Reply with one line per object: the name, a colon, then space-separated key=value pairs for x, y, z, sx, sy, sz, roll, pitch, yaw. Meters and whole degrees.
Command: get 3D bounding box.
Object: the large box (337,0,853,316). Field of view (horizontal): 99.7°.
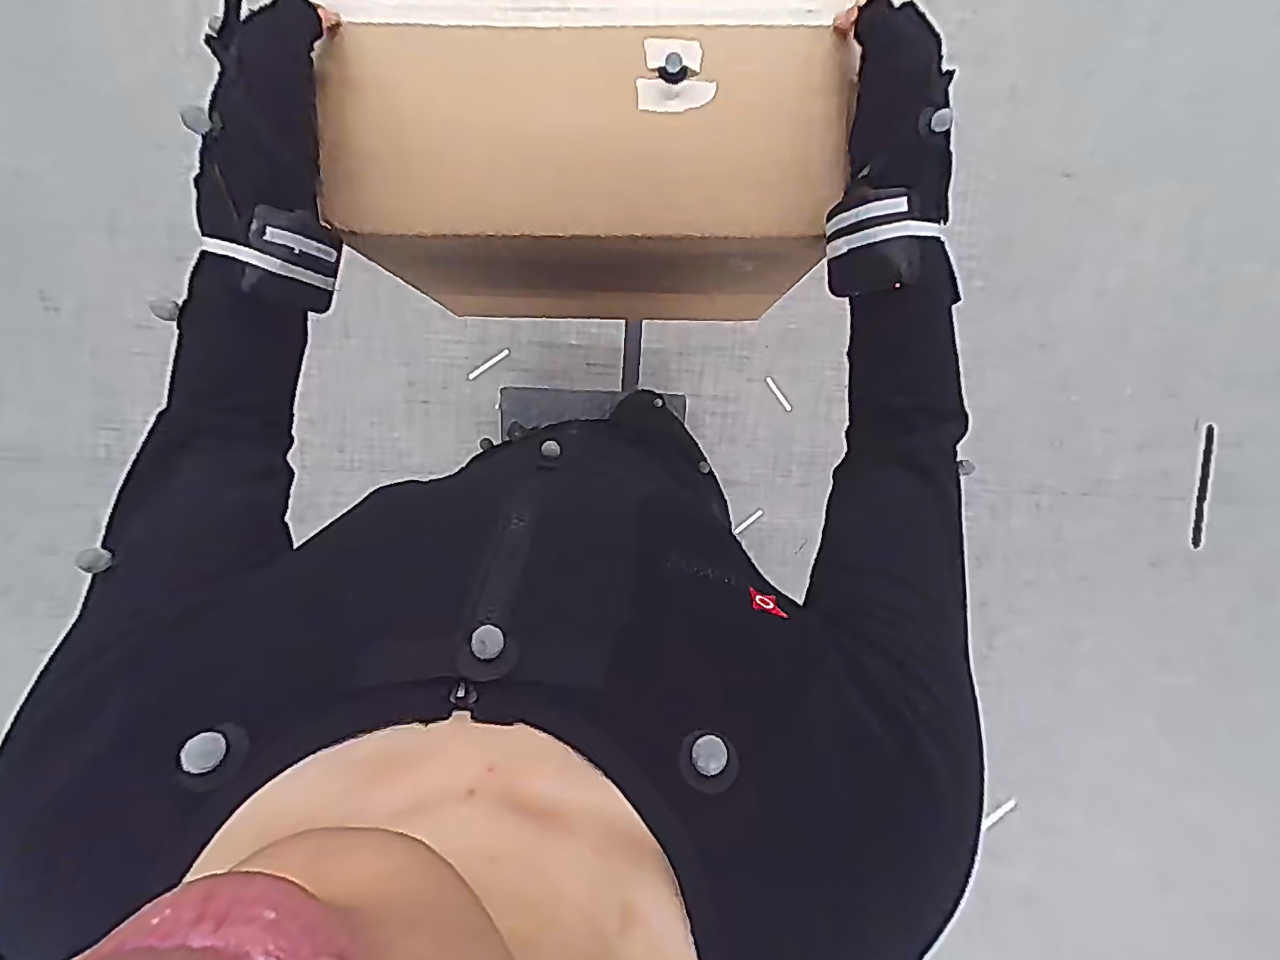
large box: x=-0.037 y=-0.363 z=0.564 sx=0.408 sy=0.320 sz=0.320 roll=0 pitch=95 yaw=-1
